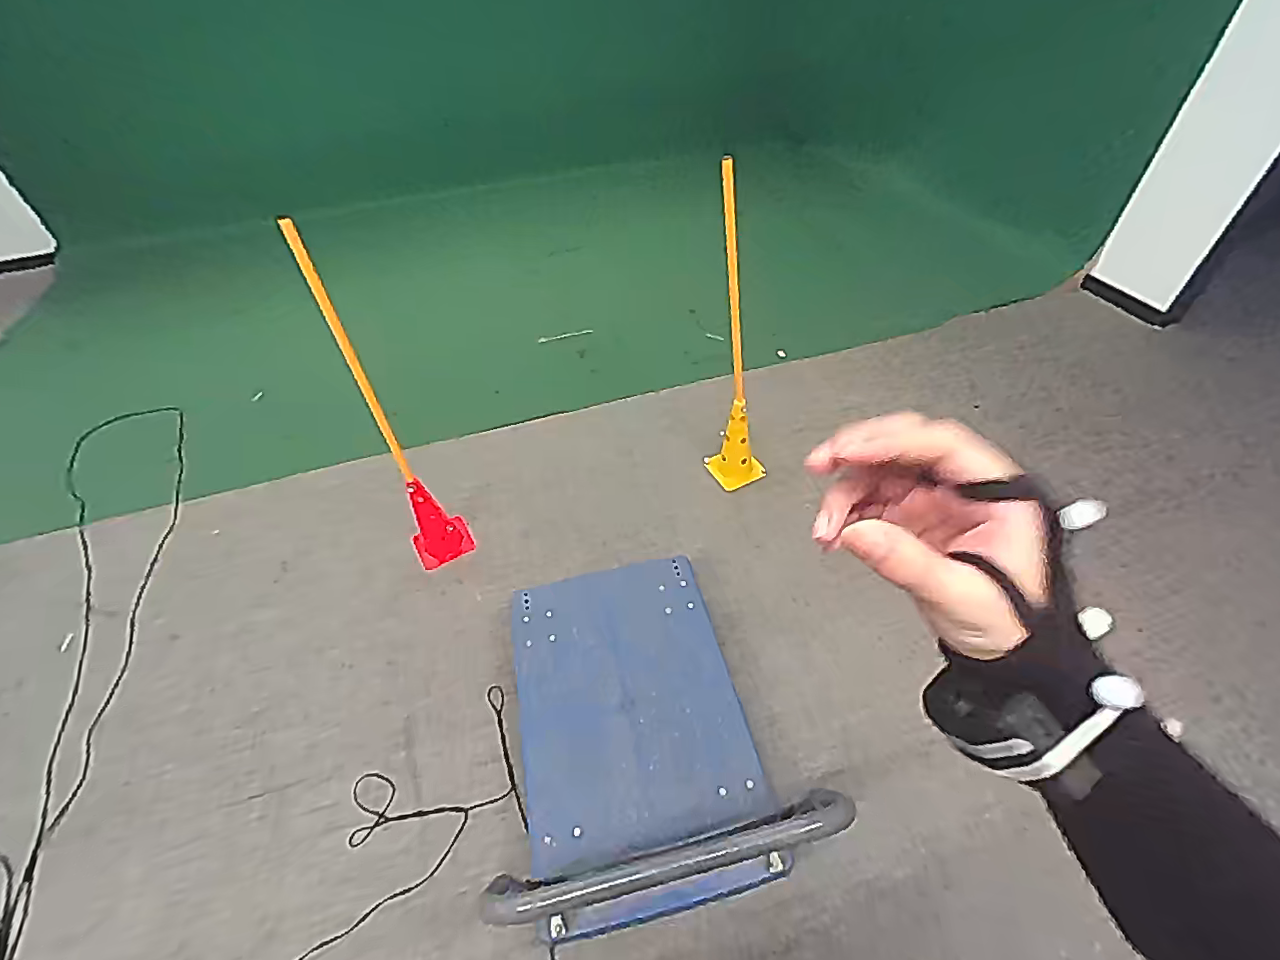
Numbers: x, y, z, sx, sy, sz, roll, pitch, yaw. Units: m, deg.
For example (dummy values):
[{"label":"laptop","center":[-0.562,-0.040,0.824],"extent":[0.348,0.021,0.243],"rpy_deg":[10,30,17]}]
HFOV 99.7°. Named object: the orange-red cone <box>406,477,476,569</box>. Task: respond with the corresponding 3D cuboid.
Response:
[{"label":"orange-red cone","center":[-0.754,0.123,1.935],"extent":[0.199,0.360,0.198],"rpy_deg":[-27,50,-17]}]
